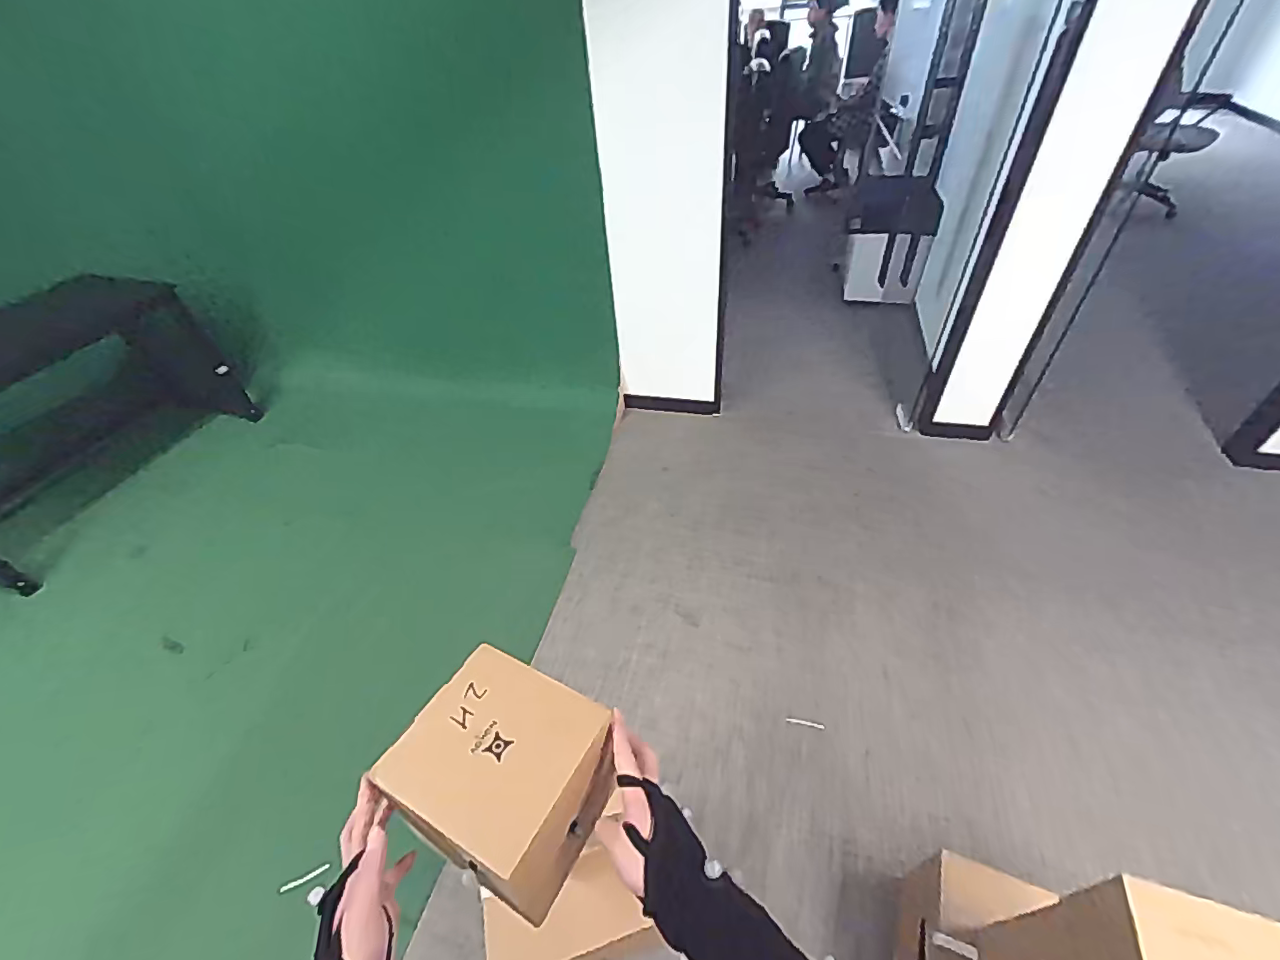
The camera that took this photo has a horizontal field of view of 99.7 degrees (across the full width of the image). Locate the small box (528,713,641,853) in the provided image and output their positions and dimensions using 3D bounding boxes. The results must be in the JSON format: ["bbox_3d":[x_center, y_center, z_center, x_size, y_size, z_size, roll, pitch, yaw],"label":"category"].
[{"bbox_3d":[-0.101,0.562,0.999,0.179,0.176,0.168,-10,44,-6],"label":"small box"}]

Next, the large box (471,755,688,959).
[{"bbox_3d":[-0.130,0.905,1.238,0.408,0.320,0.320,-16,44,-10],"label":"large box"}]

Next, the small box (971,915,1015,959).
[{"bbox_3d":[0.660,0.854,0.877,0.168,0.176,0.179,13,48,16],"label":"small box"}]

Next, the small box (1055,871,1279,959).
[{"bbox_3d":[0.645,0.618,0.652,0.168,0.176,0.179,12,46,15],"label":"small box"}]

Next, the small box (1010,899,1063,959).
[{"bbox_3d":[0.653,0.739,0.761,0.168,0.176,0.179,11,46,16],"label":"small box"}]
